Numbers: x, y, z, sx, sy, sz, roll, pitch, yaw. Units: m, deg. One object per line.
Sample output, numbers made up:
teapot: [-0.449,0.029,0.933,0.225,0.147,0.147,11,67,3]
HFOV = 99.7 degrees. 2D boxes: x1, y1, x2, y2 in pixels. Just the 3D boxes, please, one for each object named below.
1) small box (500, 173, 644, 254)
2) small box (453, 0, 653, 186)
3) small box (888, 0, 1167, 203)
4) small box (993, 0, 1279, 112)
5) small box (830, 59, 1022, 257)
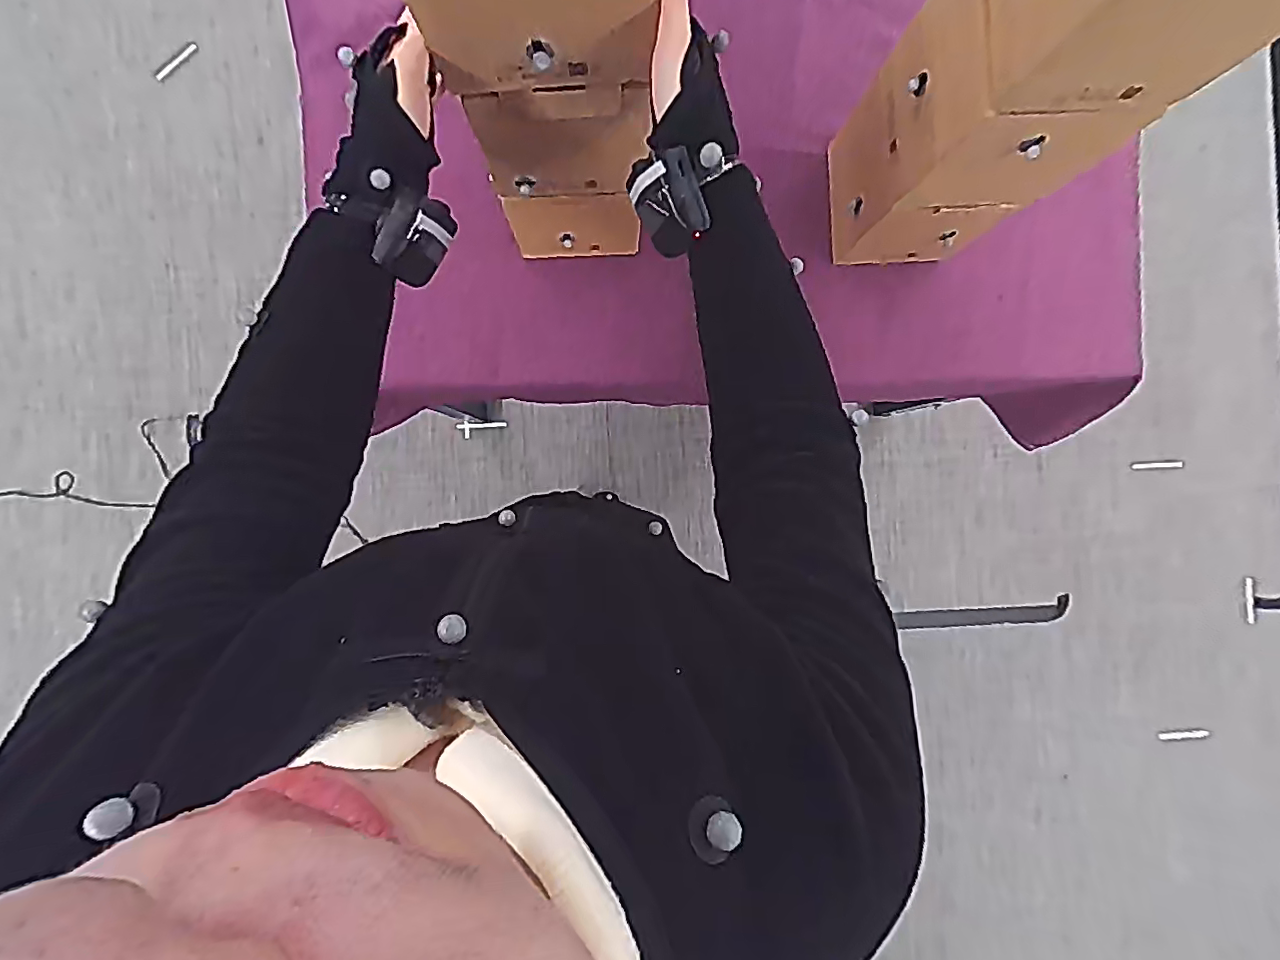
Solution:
small box: [-0.086,-0.412,0.693,0.168,0.176,0.179,-4,92,-3]
small box: [-0.078,-0.410,0.529,0.168,0.176,0.179,-5,91,-3]
small box: [0.371,-0.403,0.550,0.179,0.176,0.168,-4,92,-3]
small box: [0.384,-0.406,0.386,0.168,0.176,0.179,-3,91,-3]
small box: [0.363,-0.408,0.714,0.168,0.176,0.179,-3,90,-3]
